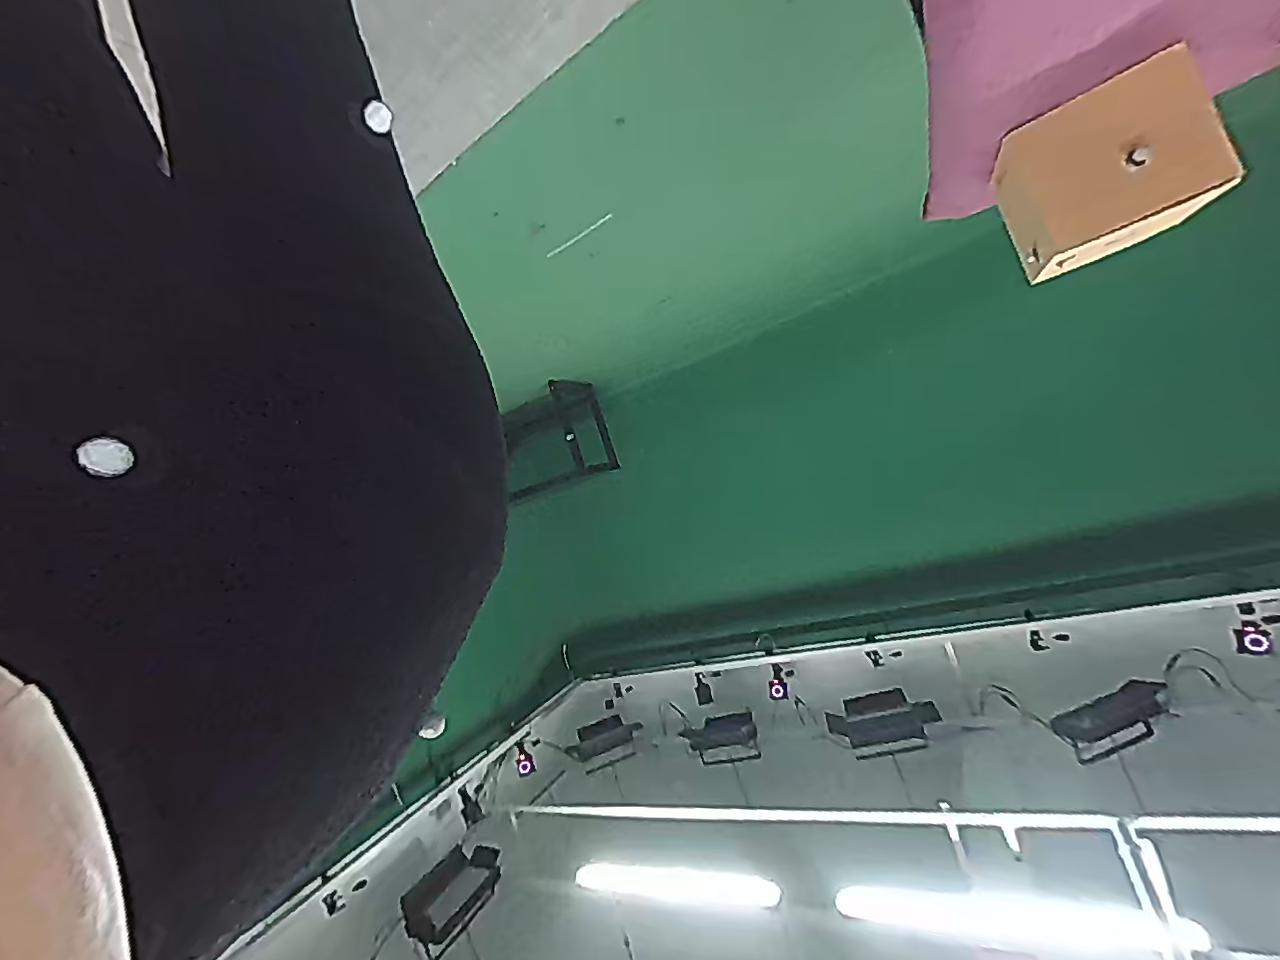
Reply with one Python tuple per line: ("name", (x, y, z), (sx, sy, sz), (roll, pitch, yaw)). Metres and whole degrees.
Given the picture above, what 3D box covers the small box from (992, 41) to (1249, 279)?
("small box", (0.588, -0.393, 0.691), (0.179, 0.176, 0.168), (-22, 175, 28))
